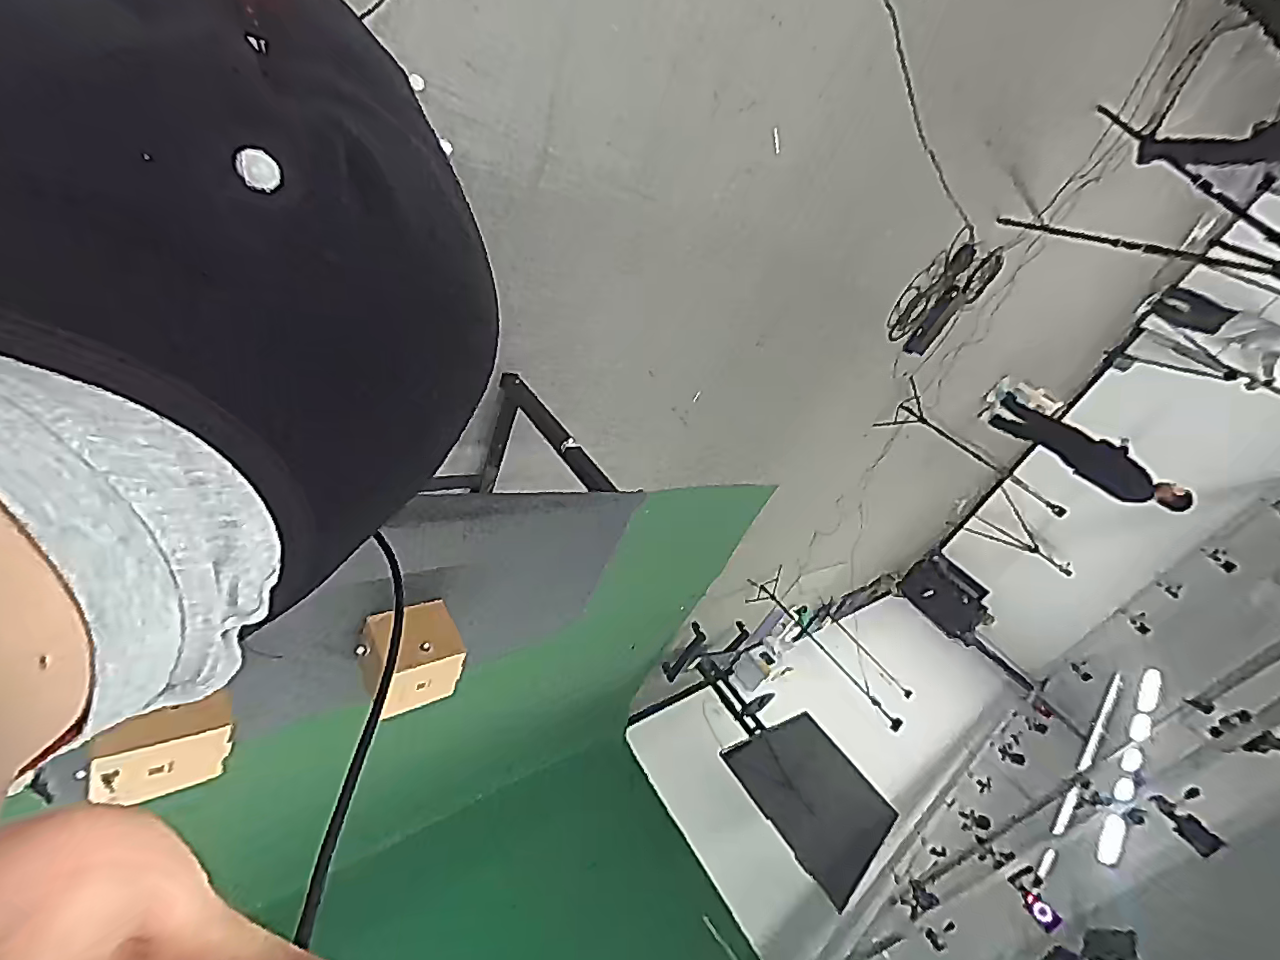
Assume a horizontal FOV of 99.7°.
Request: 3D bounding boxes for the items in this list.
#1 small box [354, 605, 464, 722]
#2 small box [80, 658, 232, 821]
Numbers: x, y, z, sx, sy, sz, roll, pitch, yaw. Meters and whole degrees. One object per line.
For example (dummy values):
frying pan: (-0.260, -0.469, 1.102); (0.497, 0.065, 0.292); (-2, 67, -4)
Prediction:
small box: (-0.539, 0.414, 1.252); (0.179, 0.176, 0.168); (-5, 131, -42)
small box: (-0.847, 0.438, 0.945); (0.179, 0.176, 0.168); (0, 128, -48)
